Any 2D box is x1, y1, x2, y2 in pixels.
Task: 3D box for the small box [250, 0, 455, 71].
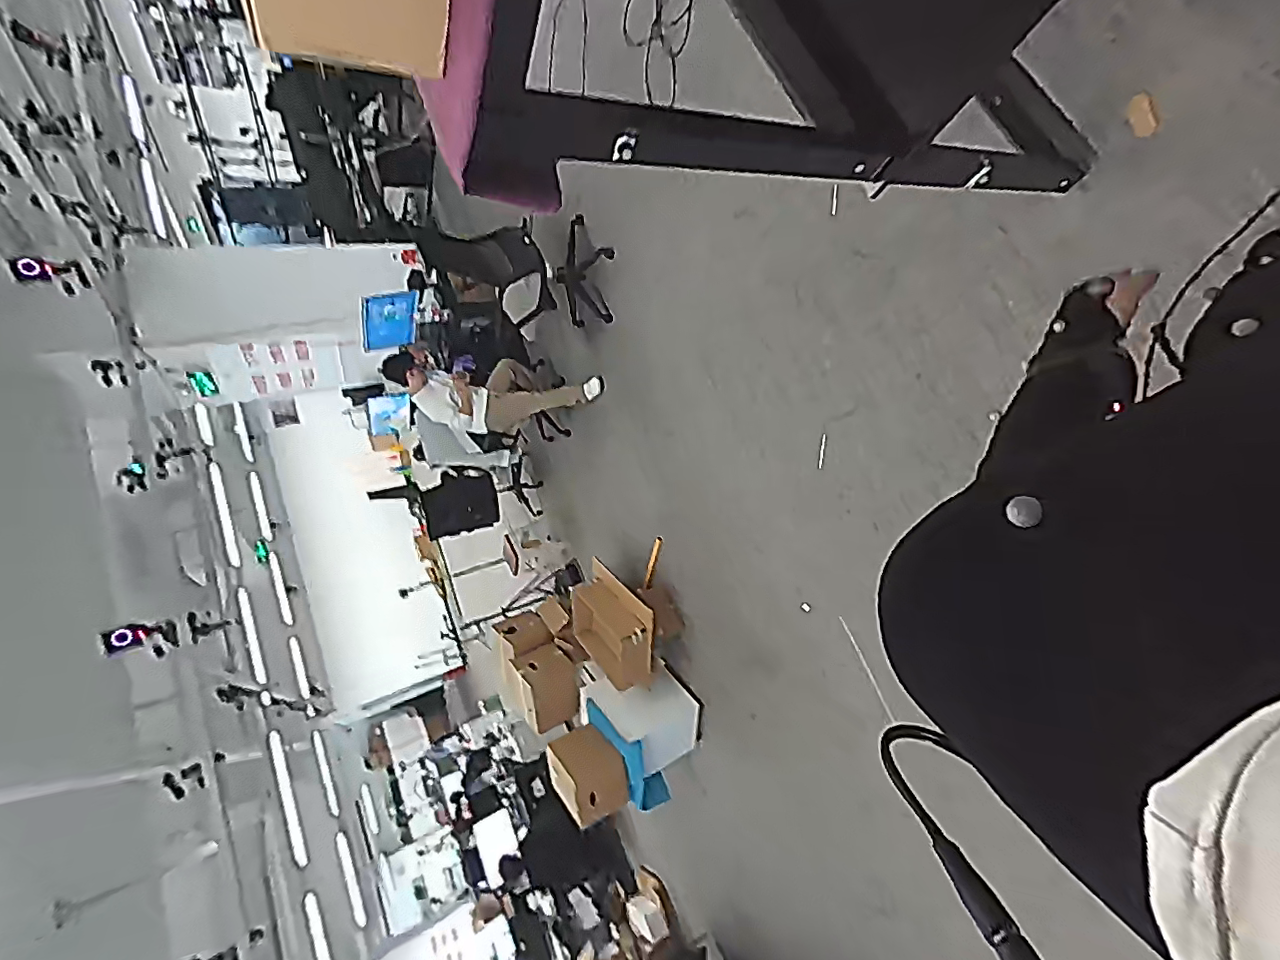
[{"bbox_3d":[-0.260,-0.504,0.471,0.168,0.176,0.179,66,148,16],"label":"small box"}]
